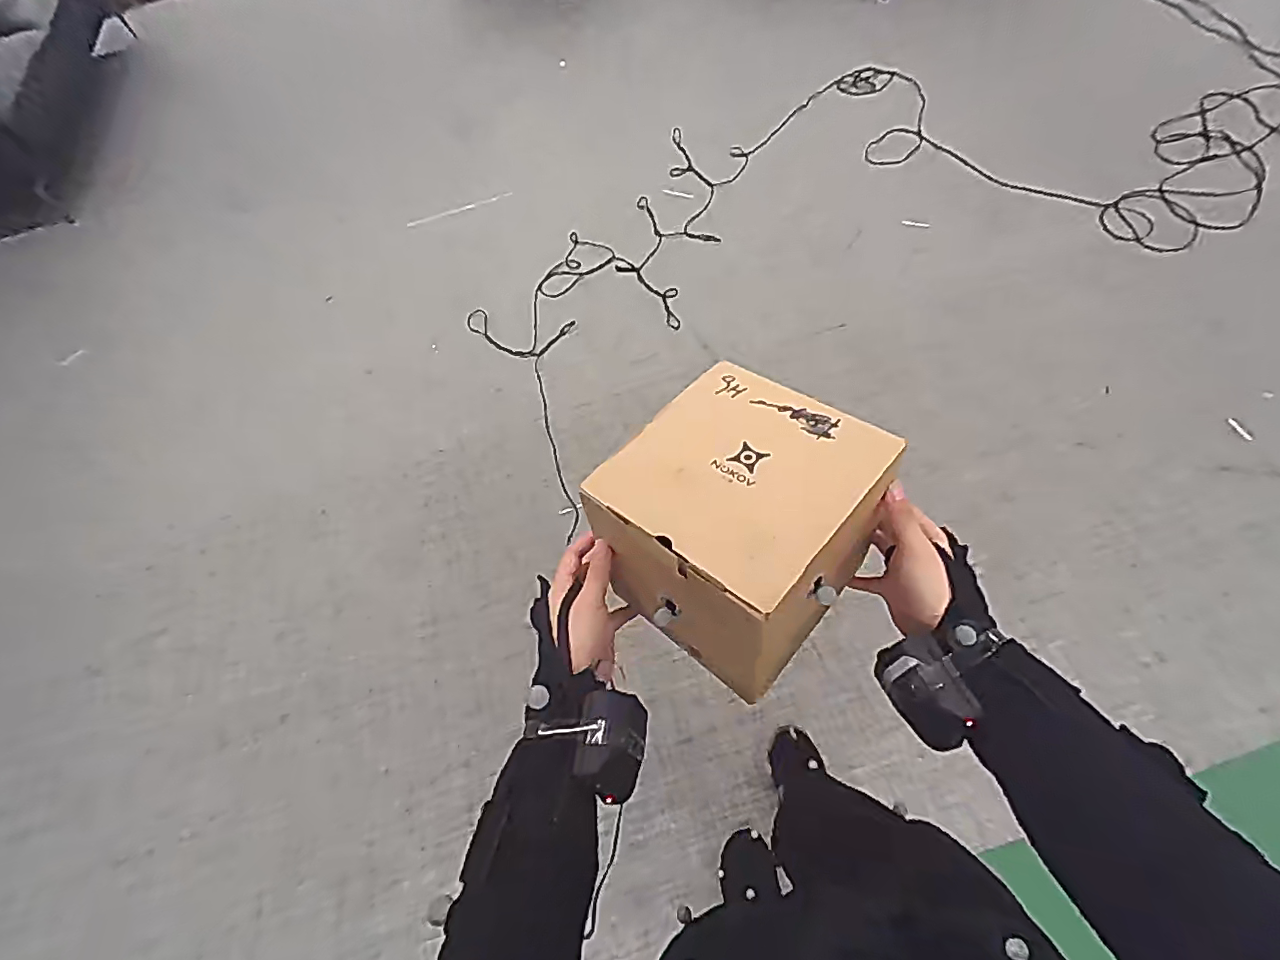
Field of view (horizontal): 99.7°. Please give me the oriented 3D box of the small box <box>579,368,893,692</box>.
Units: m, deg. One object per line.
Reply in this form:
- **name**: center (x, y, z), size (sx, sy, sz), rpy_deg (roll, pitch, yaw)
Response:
- **small box**: center (0.080, 0.044, 0.457), size (0.168, 0.176, 0.179), rpy_deg (33, 63, 30)
